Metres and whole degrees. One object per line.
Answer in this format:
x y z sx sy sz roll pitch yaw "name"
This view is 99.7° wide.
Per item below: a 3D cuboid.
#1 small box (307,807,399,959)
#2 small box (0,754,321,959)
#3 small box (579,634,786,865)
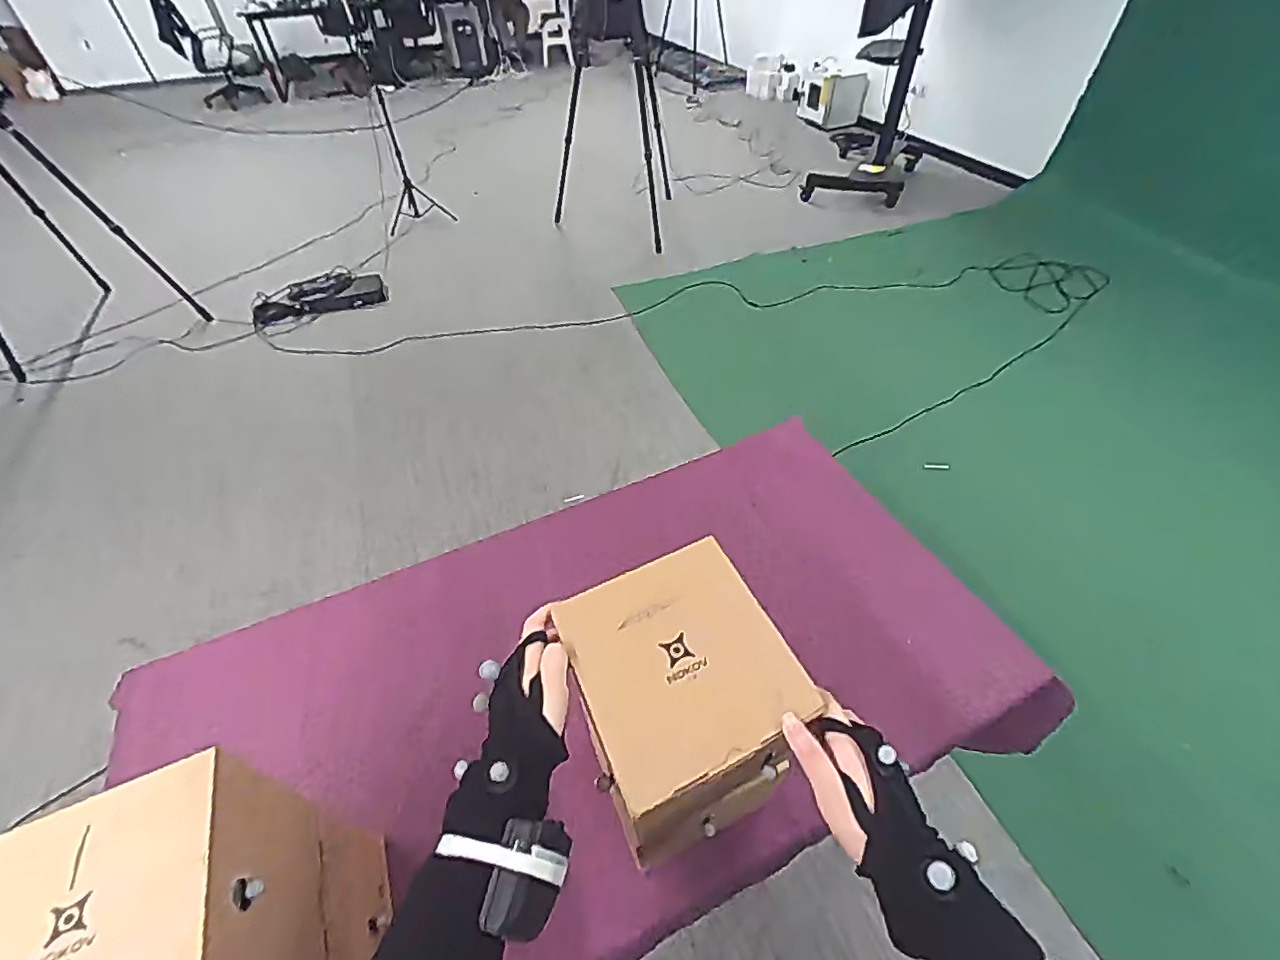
-0.357 0.460 0.523 0.179 0.176 0.168 -20 50 -16 "small box"
-0.361 0.348 0.403 0.168 0.176 0.179 -20 48 -16 "small box"
0.044 0.319 0.637 0.179 0.176 0.168 -19 50 -14 "small box"
